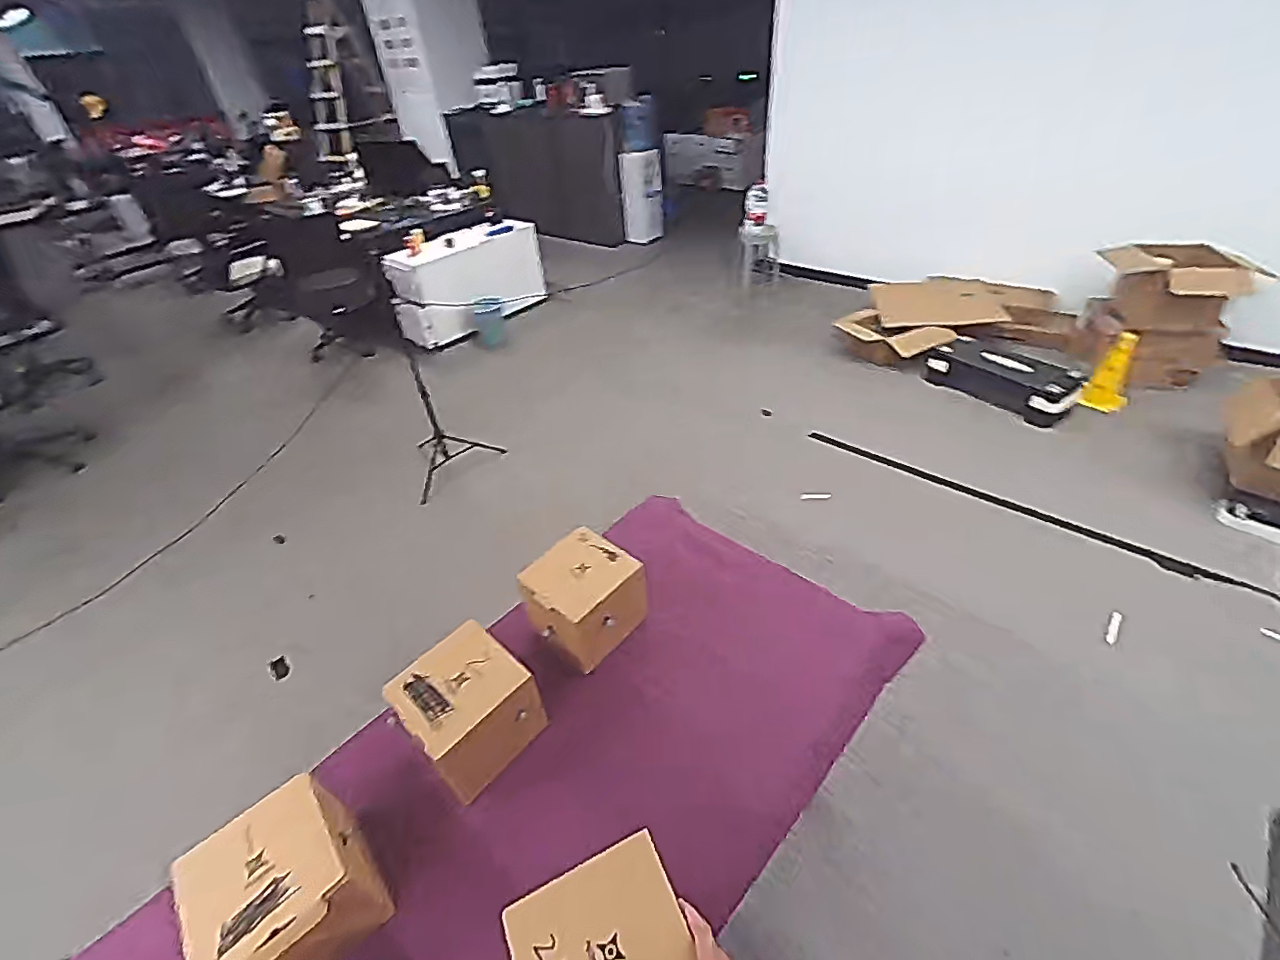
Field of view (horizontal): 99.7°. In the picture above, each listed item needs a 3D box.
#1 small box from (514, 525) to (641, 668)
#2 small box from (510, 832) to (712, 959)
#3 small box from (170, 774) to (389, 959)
[{"bbox_3d":[-0.110,0.226,1.046,0.168,0.176,0.179,29,52,32],"label":"small box"},{"bbox_3d":[-0.018,0.528,0.580,0.179,0.176,0.168,-21,40,-14],"label":"small box"},{"bbox_3d":[-0.463,0.542,0.713,0.168,0.176,0.179,-33,47,-29],"label":"small box"}]
